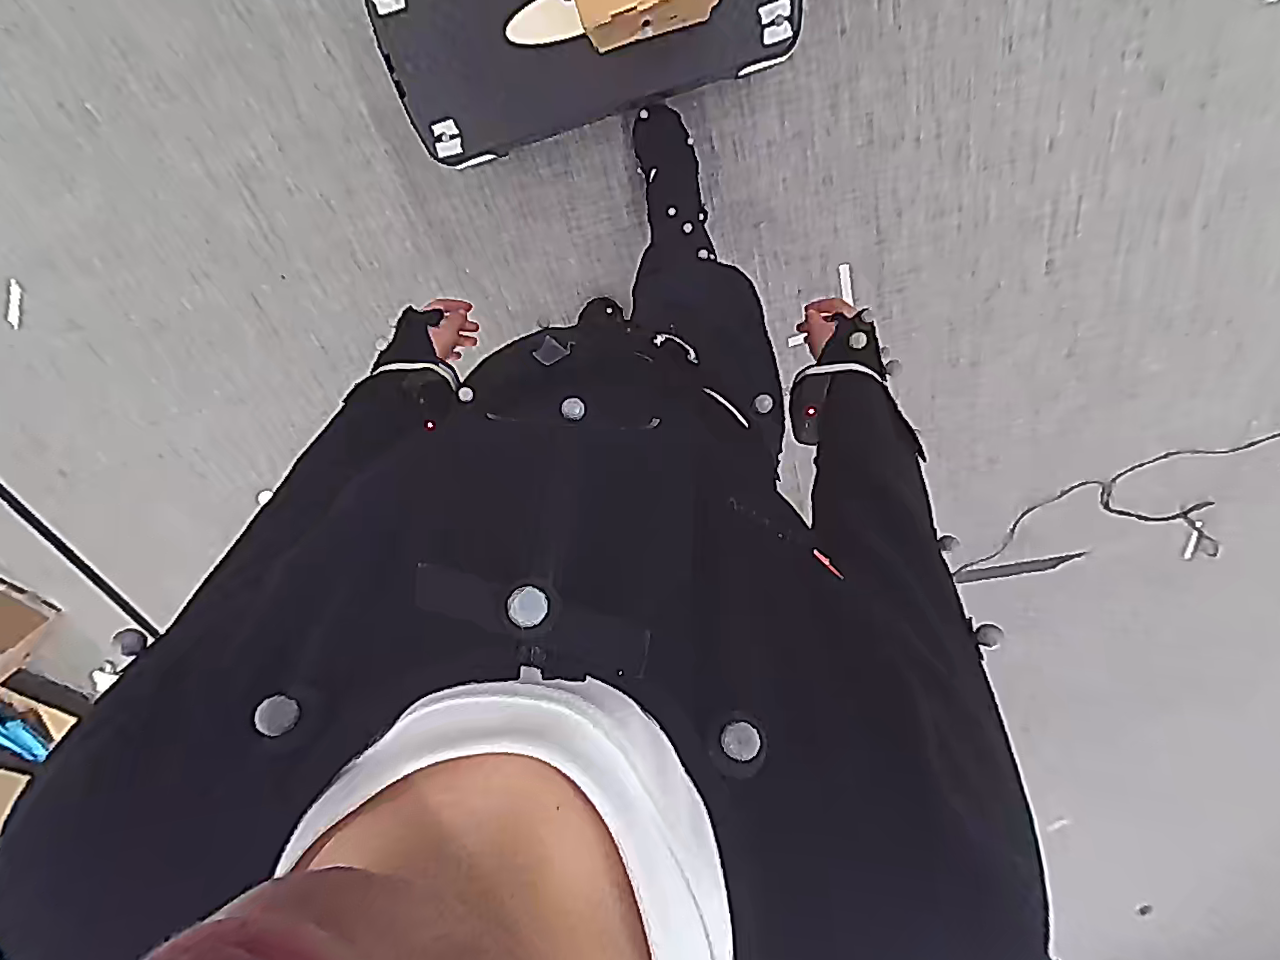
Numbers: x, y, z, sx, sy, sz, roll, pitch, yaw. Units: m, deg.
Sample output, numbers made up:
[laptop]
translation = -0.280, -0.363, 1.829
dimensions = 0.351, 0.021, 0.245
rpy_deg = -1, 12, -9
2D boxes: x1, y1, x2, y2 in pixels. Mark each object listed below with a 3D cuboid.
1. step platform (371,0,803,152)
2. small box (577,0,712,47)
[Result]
[step platform]
translation = -0.083, -0.795, 0.891
dimensions = 0.684, 0.204, 0.286
rpy_deg = -12, 121, 10
[small box]
translation = -0.007, -0.623, 0.600
dimensions = 0.168, 0.176, 0.179
rpy_deg = -14, 121, 10
